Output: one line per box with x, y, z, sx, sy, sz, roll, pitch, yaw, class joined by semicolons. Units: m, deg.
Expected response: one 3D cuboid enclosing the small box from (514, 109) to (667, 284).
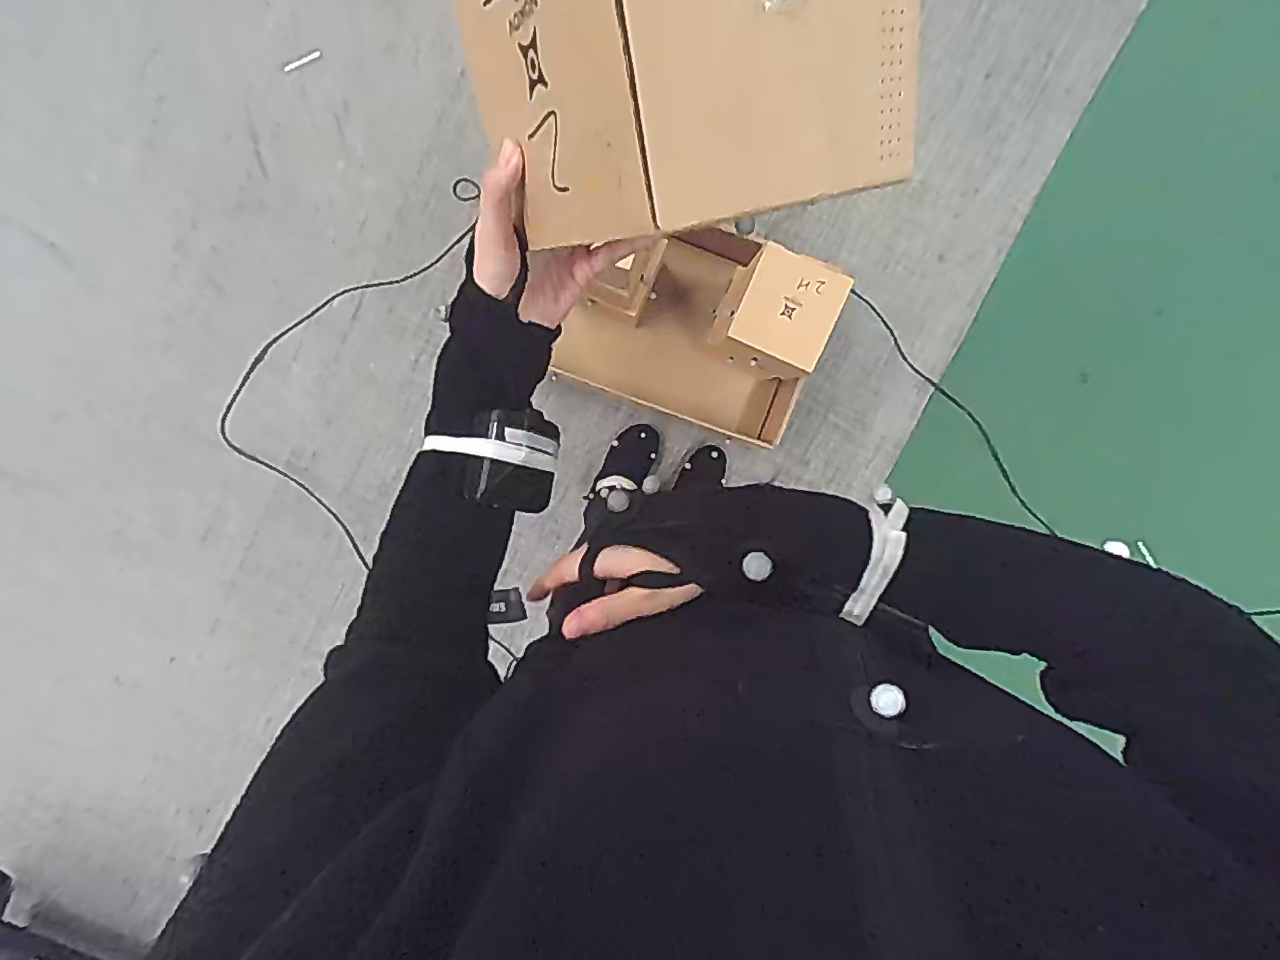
-0.070;-0.416;0.831;0.179;0.176;0.168;19;98;-2;small box

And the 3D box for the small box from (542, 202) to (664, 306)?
-0.073;-0.437;0.991;0.179;0.176;0.168;24;97;-4;small box

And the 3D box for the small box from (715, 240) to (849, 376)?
0.251;-0.306;1.009;0.168;0.176;0.179;24;95;-5;small box

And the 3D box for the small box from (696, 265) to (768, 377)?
0.235;-0.332;1.172;0.179;0.176;0.168;24;96;-3;small box
